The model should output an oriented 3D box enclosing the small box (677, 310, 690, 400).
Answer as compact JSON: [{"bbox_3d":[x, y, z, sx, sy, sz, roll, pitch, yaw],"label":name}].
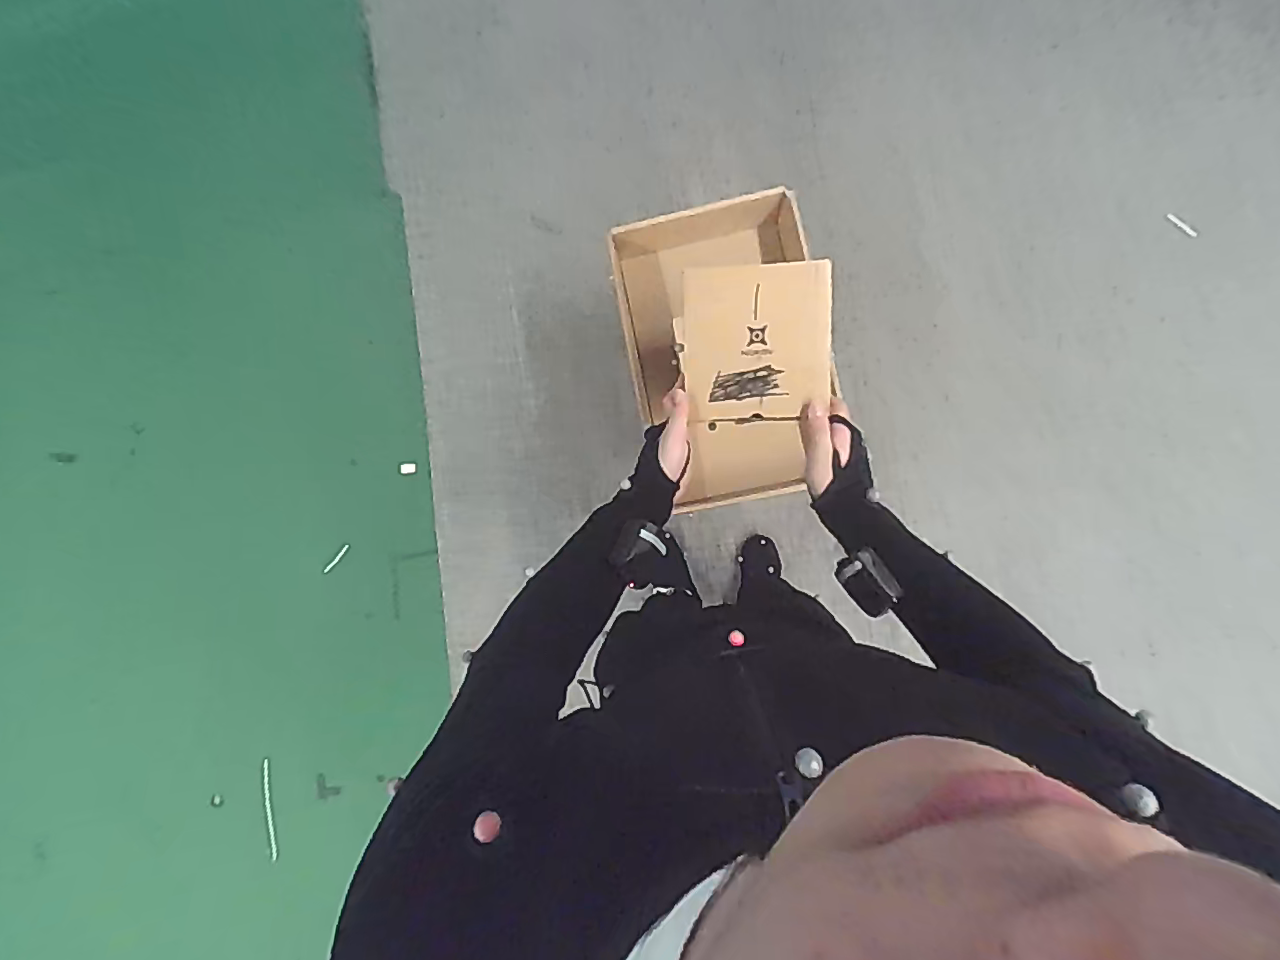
[{"bbox_3d":[0.173,-0.256,1.137,0.168,0.176,0.179,-11,86,5],"label":"small box"}]

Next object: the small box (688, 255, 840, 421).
[{"bbox_3d":[0.148,-0.167,0.681,0.168,0.176,0.179,-1,97,7],"label":"small box"}]
